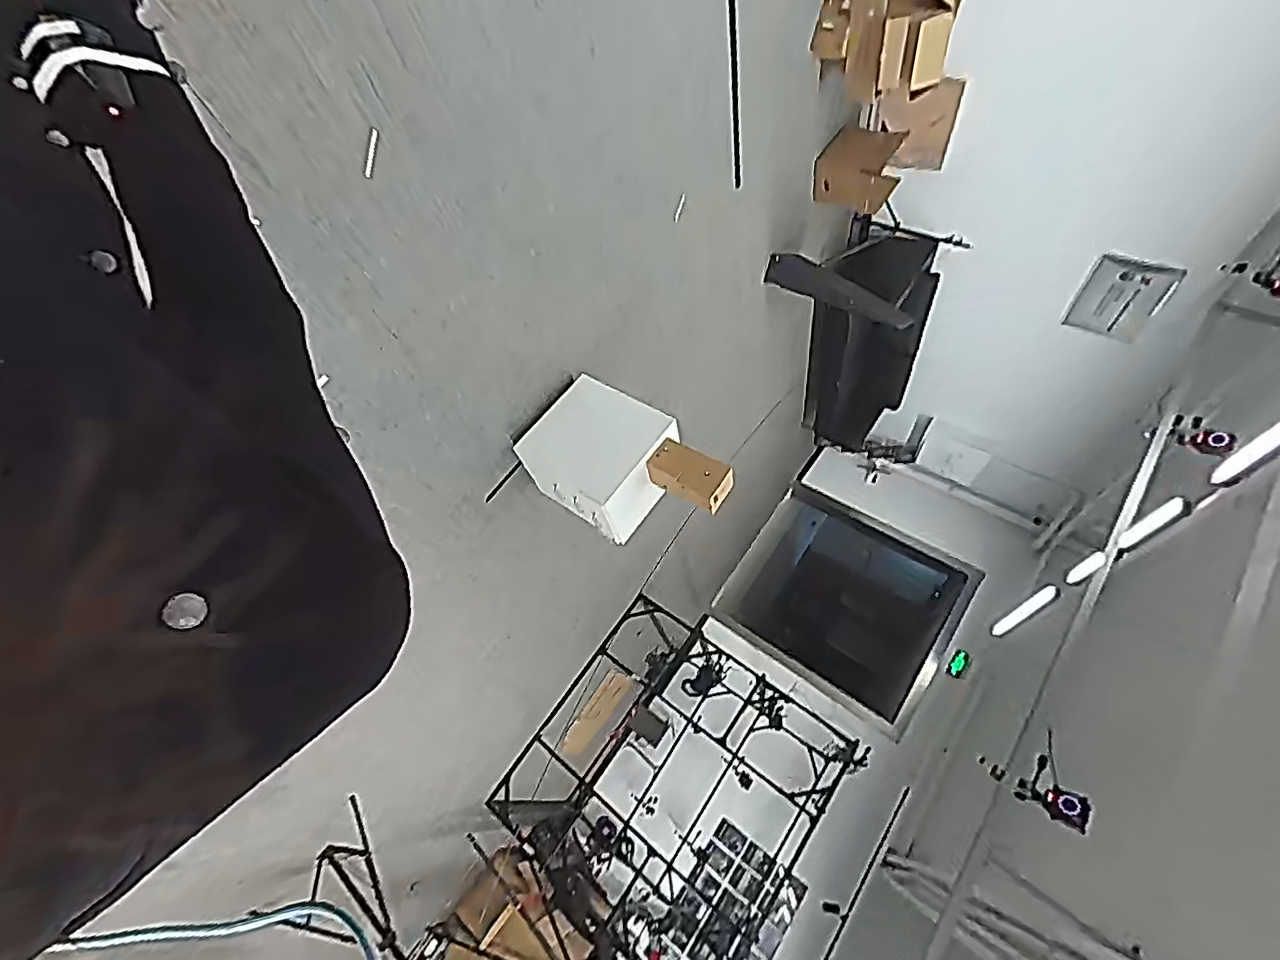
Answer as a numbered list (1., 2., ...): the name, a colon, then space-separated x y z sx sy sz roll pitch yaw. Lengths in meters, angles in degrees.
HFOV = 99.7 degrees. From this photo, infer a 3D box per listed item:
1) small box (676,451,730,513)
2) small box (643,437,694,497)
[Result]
1. small box: 0.266 0.006 2.323 0.179 0.176 0.168 -54 156 -17
2. small box: 0.133 -0.062 2.391 0.168 0.176 0.179 -51 154 -20
